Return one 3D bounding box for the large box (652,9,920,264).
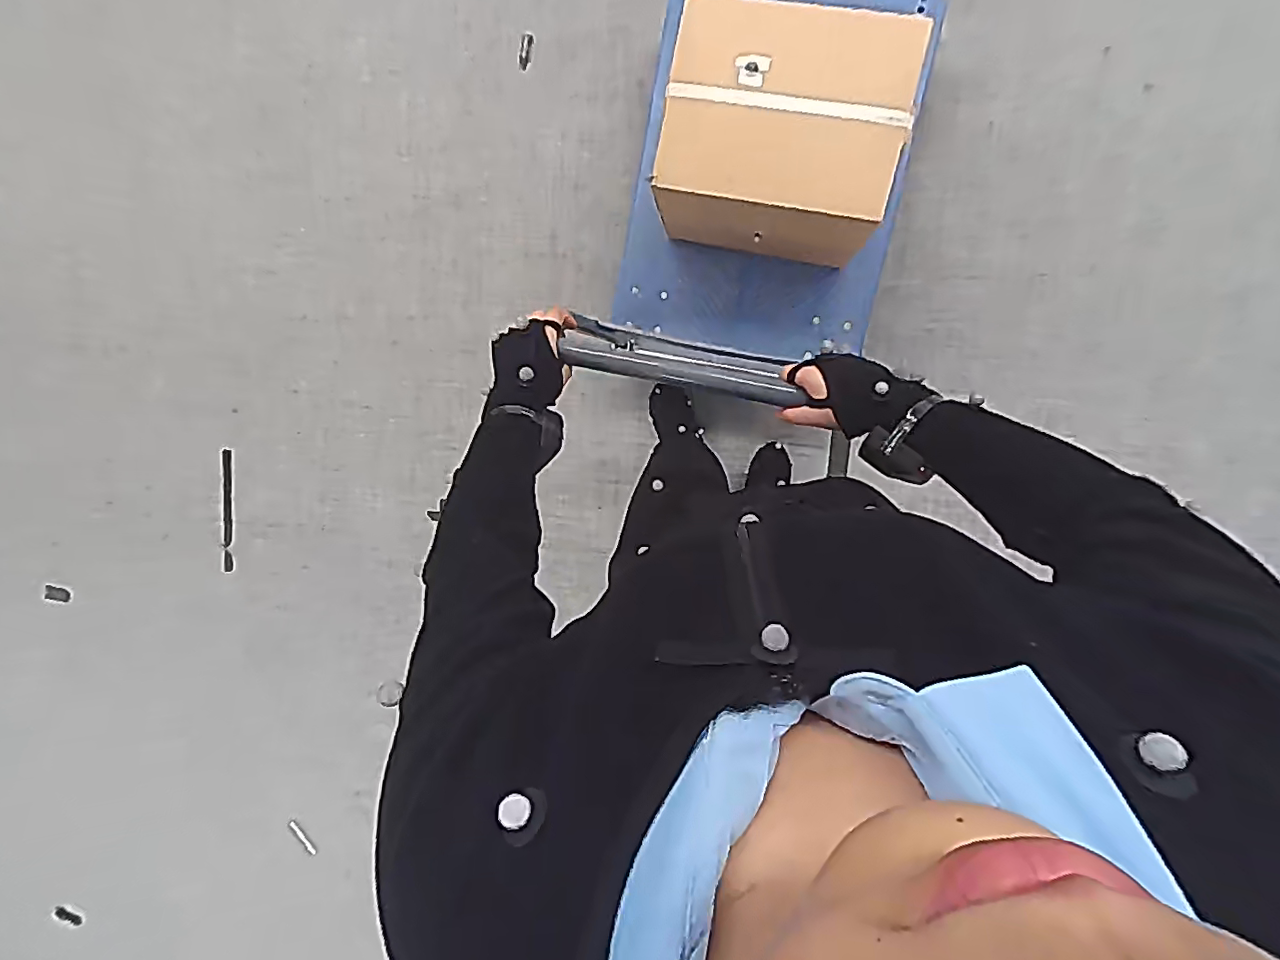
[{"bbox_3d":[0.268,-0.648,1.076,0.408,0.320,0.320,13,98,8],"label":"large box"}]
